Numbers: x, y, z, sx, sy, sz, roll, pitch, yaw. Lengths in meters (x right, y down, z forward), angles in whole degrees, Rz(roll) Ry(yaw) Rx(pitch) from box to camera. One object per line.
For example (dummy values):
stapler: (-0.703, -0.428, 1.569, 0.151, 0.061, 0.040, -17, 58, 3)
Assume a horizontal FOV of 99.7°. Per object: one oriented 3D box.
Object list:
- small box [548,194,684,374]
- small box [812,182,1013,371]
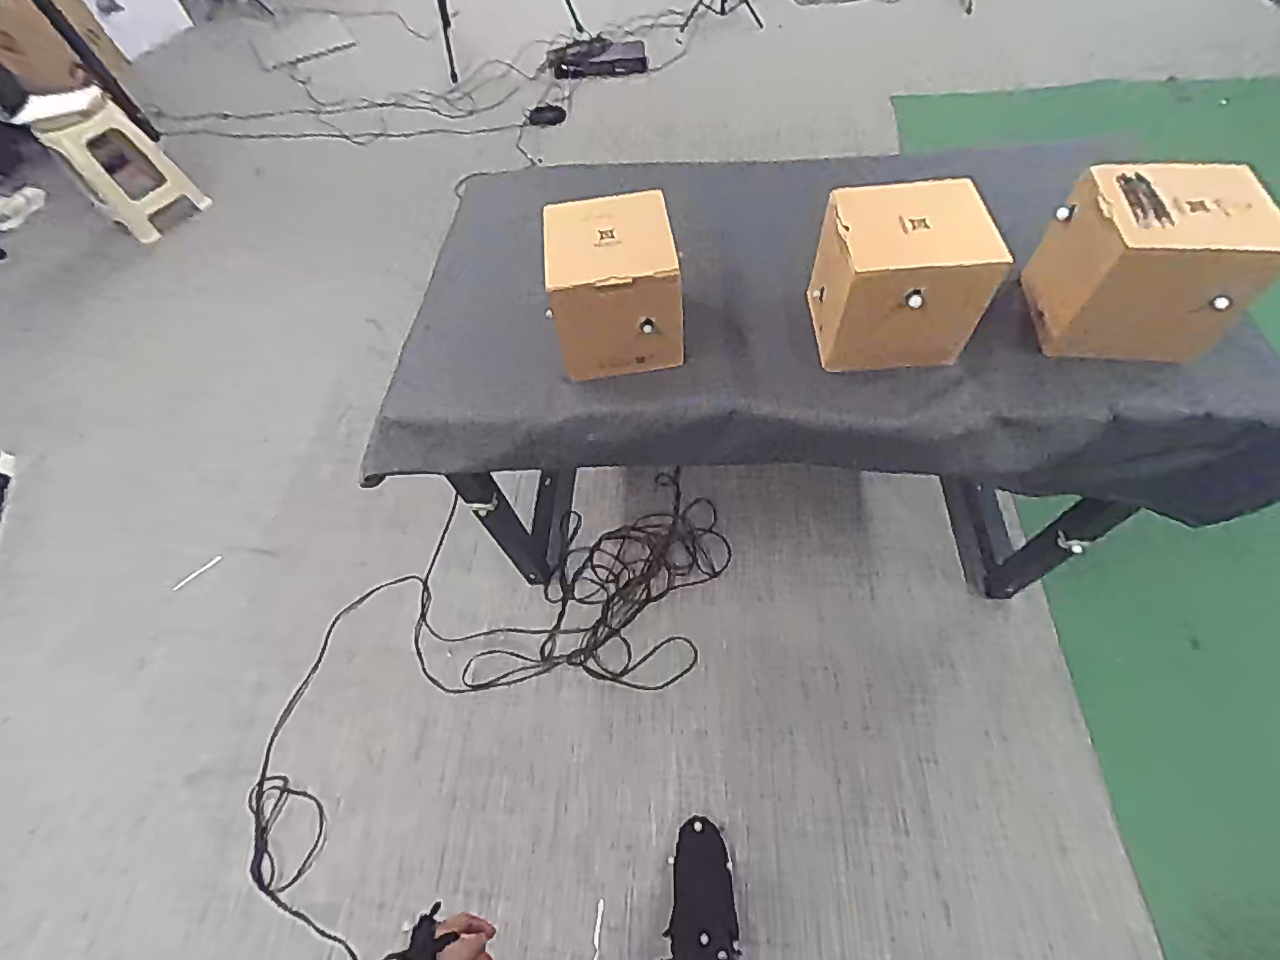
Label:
small box: (-0.030, -0.266, 0.760, 0.168, 0.176, 0.179, -7, 57, 0)
small box: (0.342, -0.263, 0.719, 0.179, 0.176, 0.168, -2, 58, 6)
